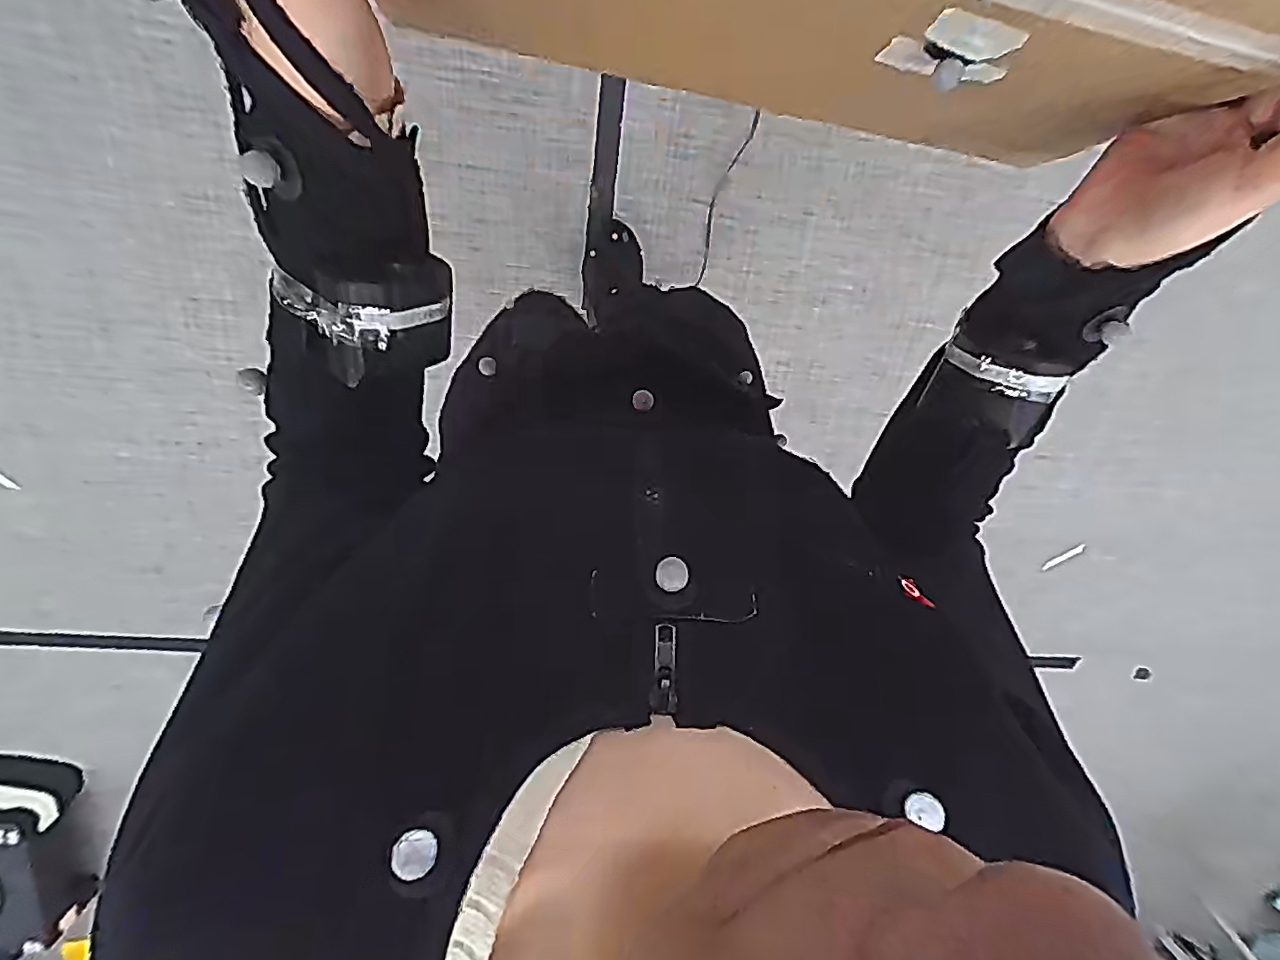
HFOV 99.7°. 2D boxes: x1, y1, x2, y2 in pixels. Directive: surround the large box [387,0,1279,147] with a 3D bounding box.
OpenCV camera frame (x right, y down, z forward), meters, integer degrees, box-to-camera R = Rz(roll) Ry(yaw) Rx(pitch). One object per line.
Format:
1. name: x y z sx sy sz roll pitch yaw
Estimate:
1. large box: 0.096 -0.341 0.147 0.408 0.320 0.320 5 106 -9
